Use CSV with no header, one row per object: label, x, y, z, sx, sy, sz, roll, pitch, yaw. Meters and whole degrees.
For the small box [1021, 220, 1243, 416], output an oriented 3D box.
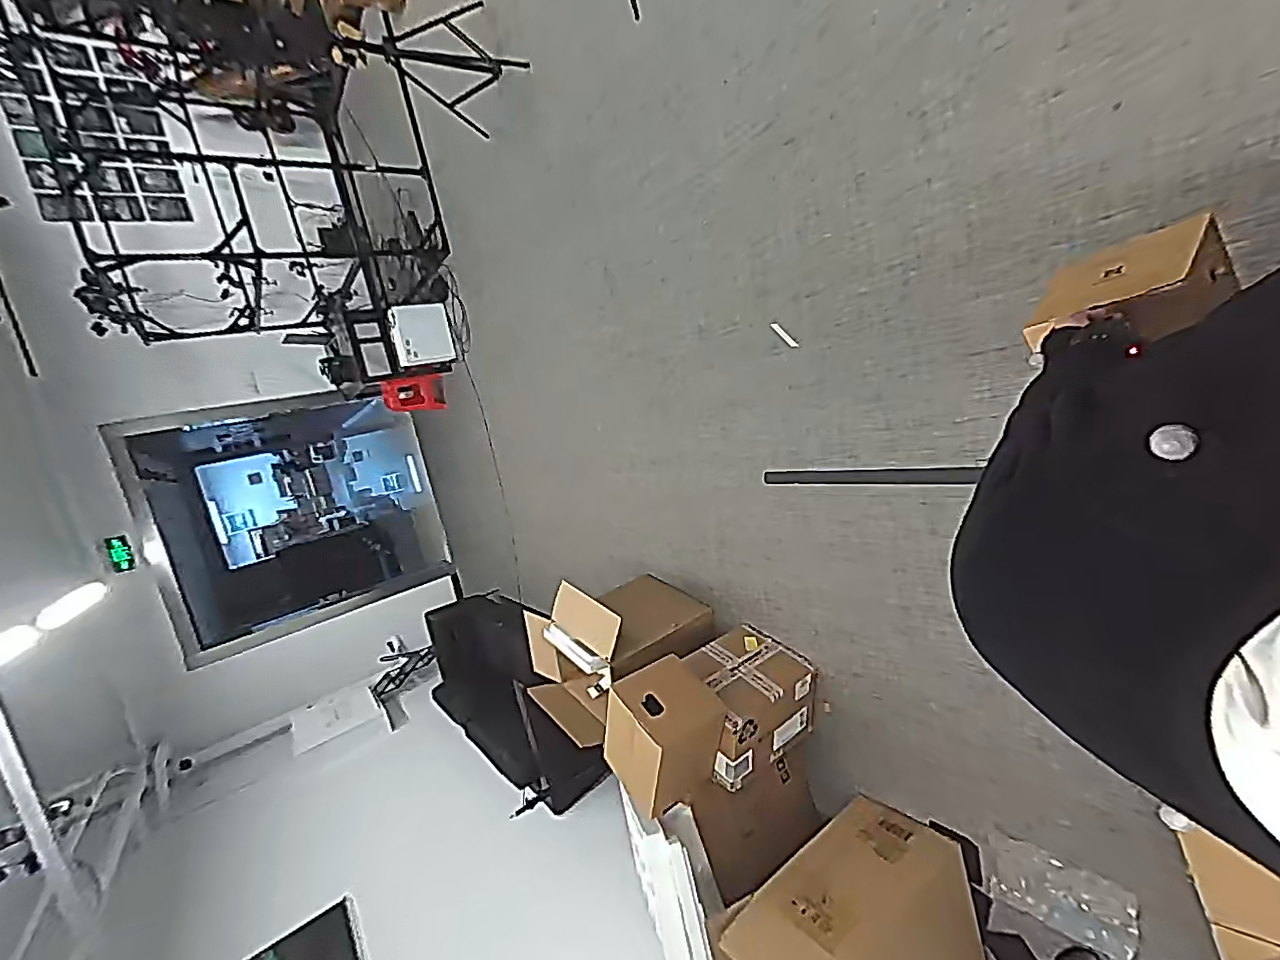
small box,0.662,-0.201,0.727,0.176,0.179,0.168,53,154,-16
